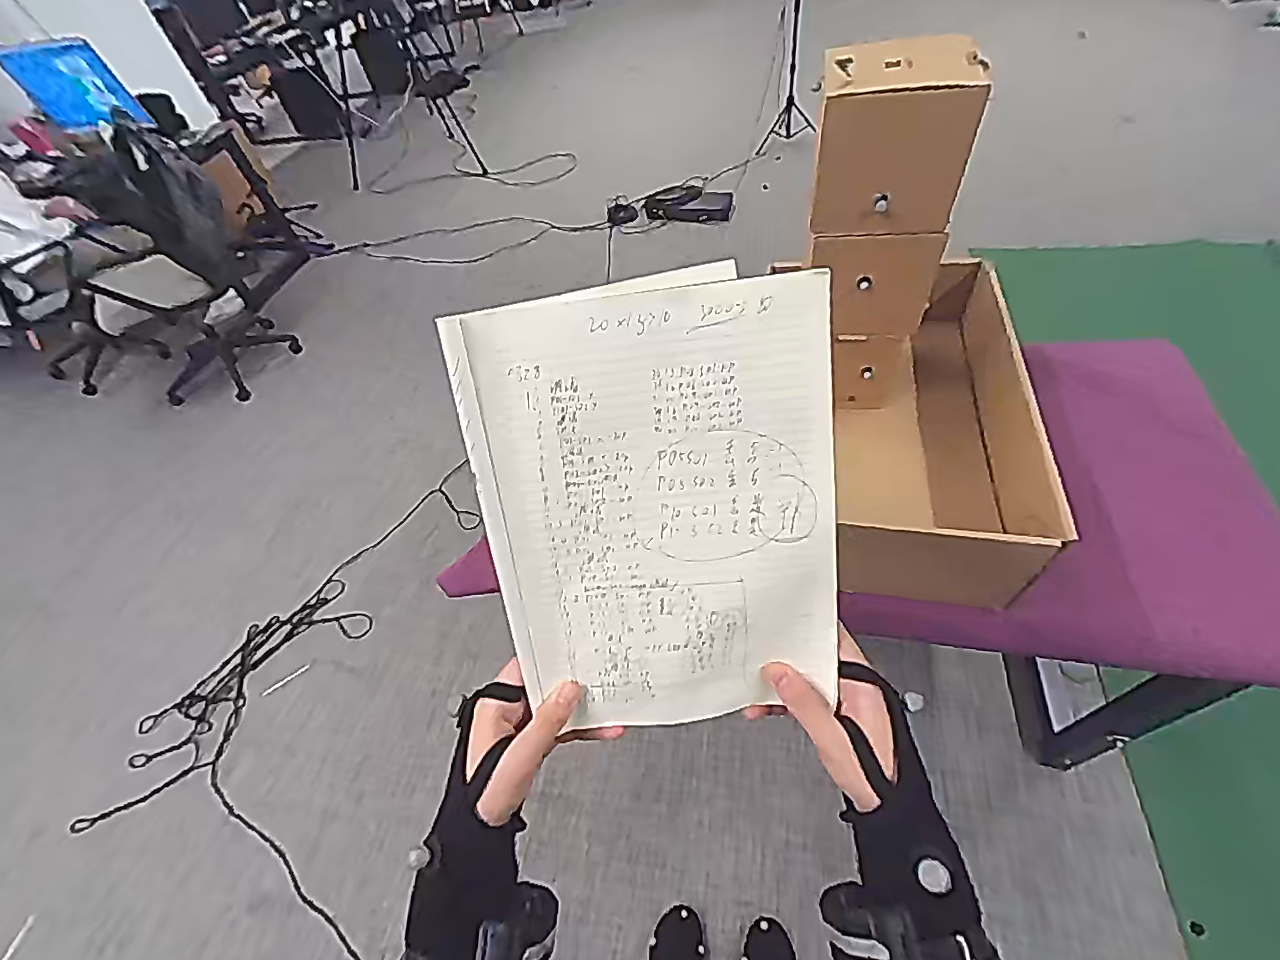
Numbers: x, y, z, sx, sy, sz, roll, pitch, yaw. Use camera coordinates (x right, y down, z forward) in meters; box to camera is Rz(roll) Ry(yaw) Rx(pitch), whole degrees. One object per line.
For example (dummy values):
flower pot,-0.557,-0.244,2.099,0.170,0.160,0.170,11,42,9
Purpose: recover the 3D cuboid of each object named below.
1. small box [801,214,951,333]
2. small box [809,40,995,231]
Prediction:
small box,0.350,-0.343,0.839,0.179,0.176,0.168,3,53,12
small box,0.328,-0.447,0.713,0.179,0.176,0.168,6,53,12
